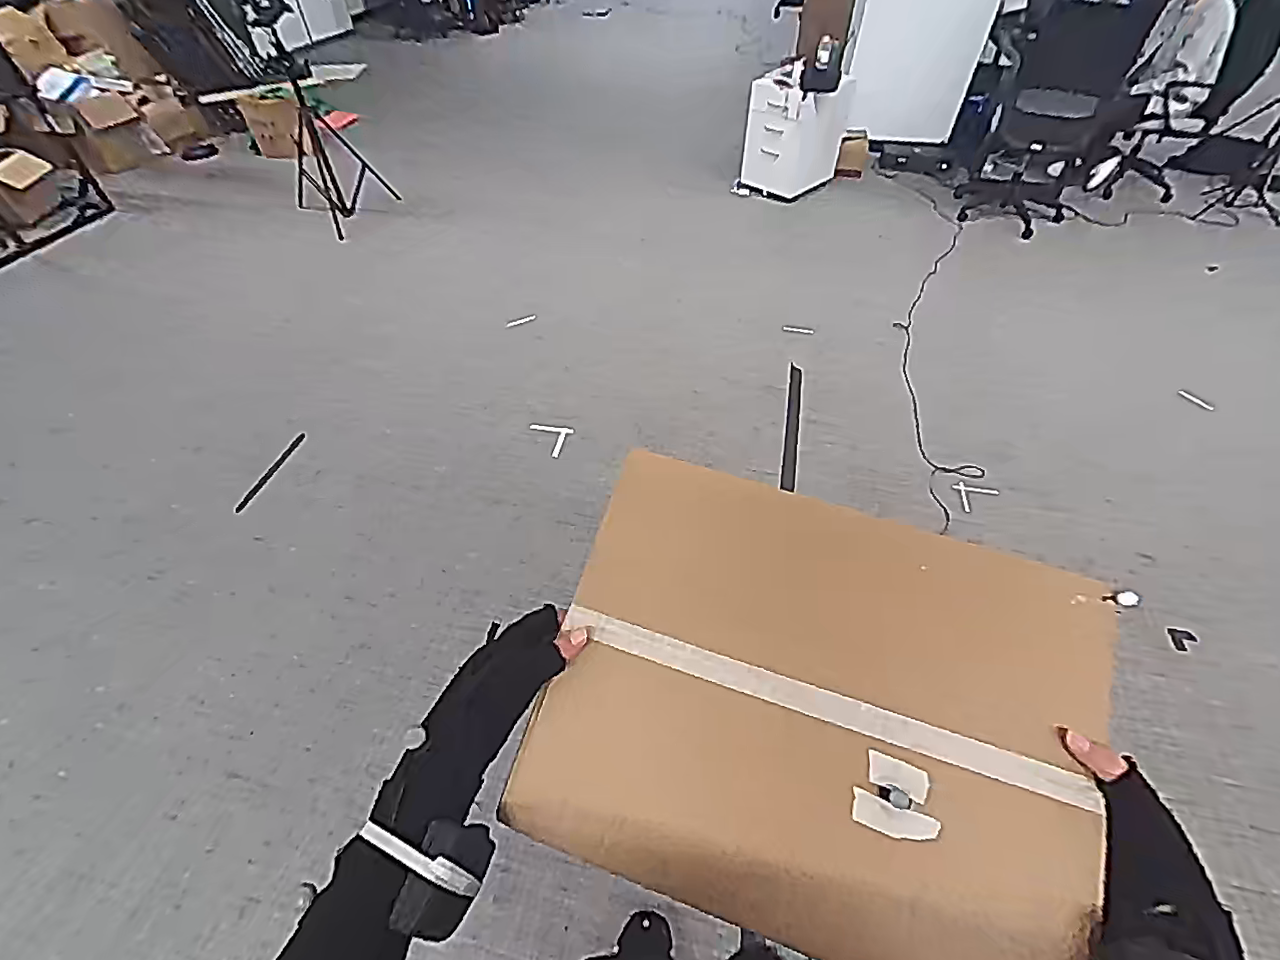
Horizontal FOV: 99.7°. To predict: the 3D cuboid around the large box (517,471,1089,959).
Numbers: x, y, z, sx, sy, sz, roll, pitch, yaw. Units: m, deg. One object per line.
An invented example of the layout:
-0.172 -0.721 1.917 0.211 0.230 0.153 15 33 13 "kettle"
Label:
0.144 0.228 0.568 0.408 0.320 0.320 16 73 9 "large box"
